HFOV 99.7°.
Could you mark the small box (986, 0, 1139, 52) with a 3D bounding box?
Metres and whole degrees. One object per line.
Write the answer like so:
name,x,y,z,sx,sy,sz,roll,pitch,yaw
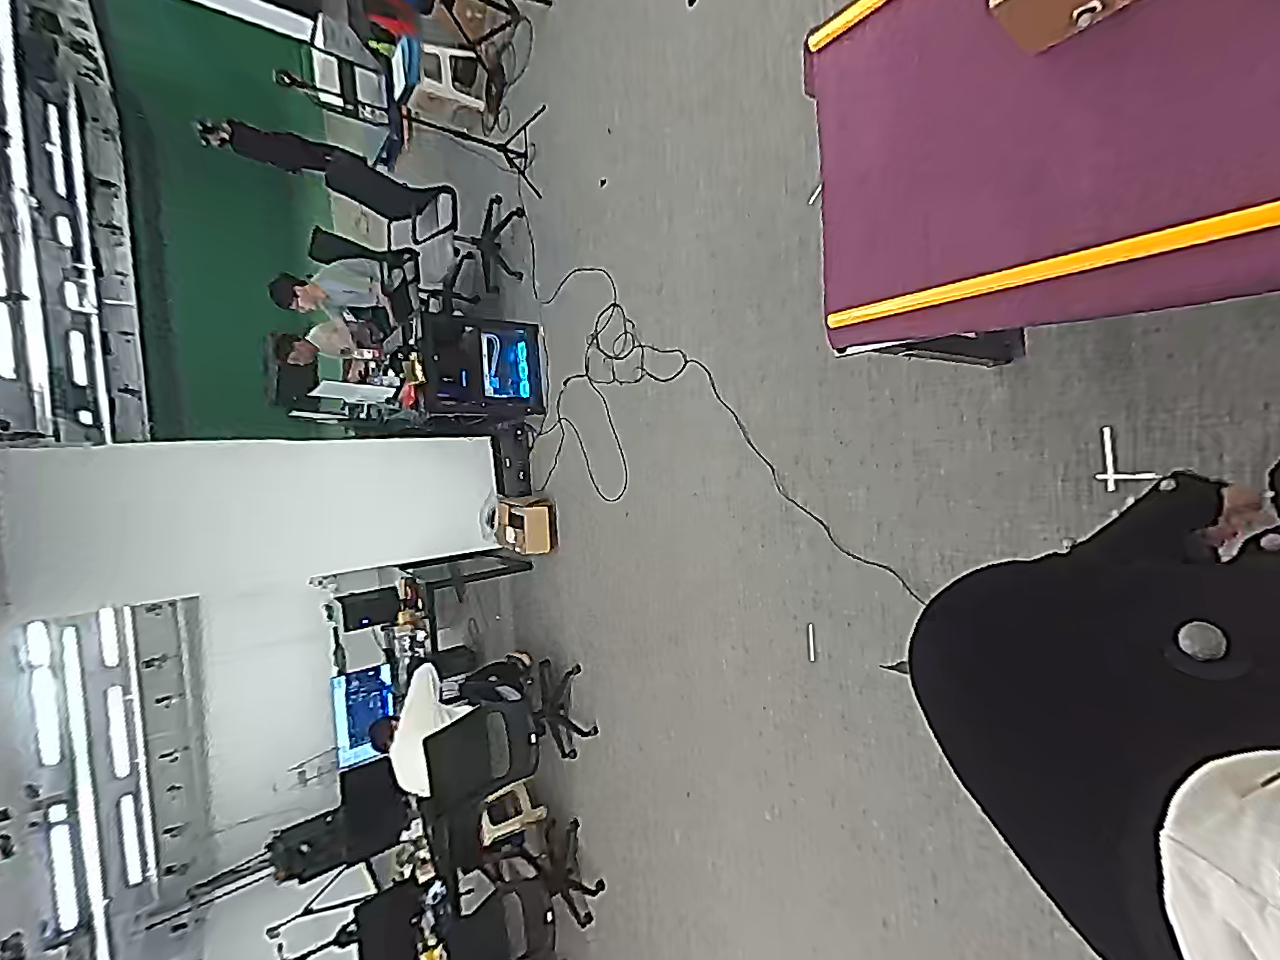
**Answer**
small box,0.526,-0.671,0.641,0.168,0.176,0.179,-4,92,53
